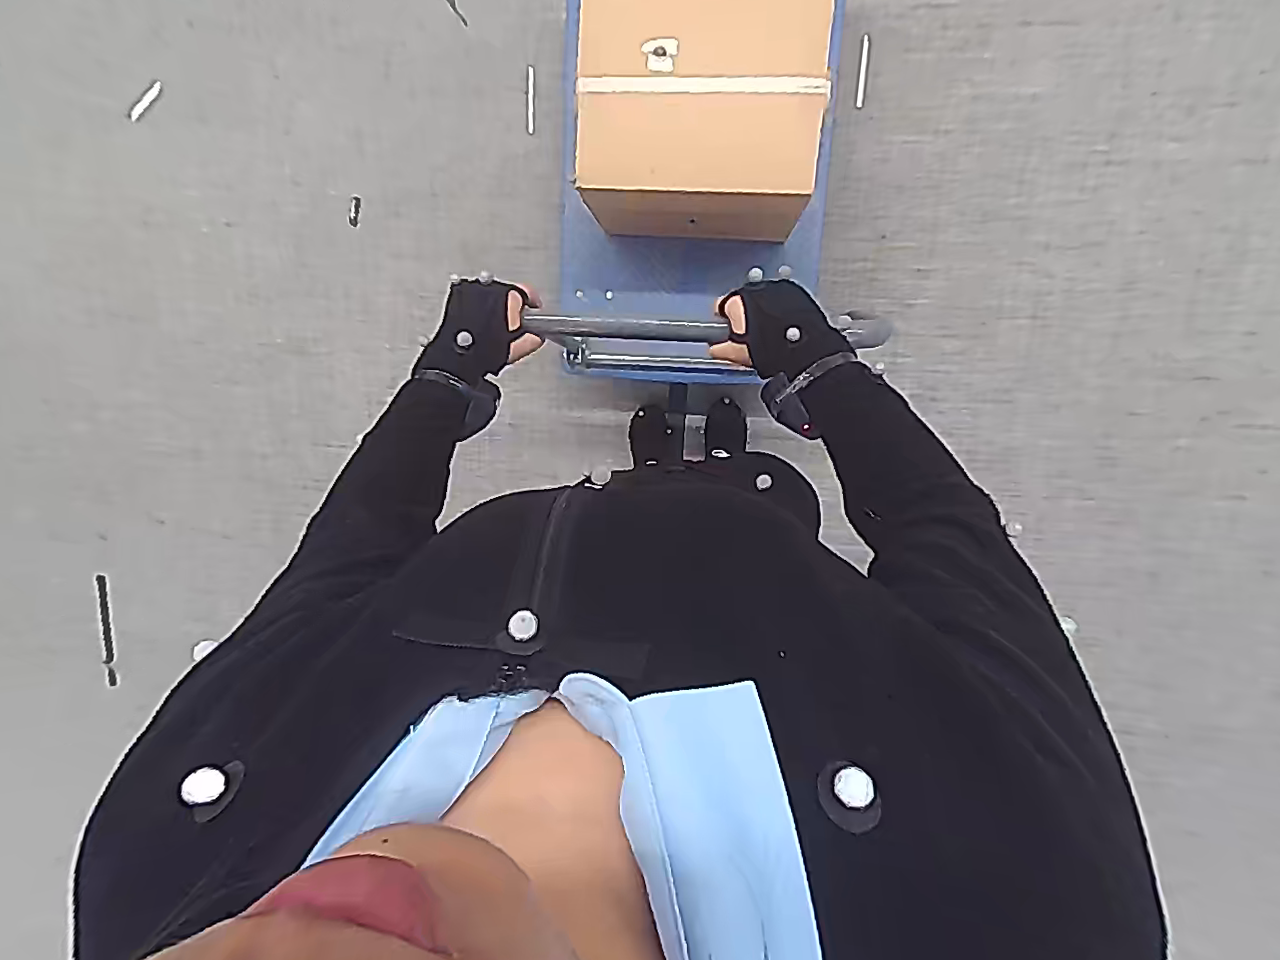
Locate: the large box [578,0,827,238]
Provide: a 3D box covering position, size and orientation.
[{"bbox_3d":[0.115,-0.667,1.044,0.408,0.320,0.320,5,100,7],"label":"large box"}]
